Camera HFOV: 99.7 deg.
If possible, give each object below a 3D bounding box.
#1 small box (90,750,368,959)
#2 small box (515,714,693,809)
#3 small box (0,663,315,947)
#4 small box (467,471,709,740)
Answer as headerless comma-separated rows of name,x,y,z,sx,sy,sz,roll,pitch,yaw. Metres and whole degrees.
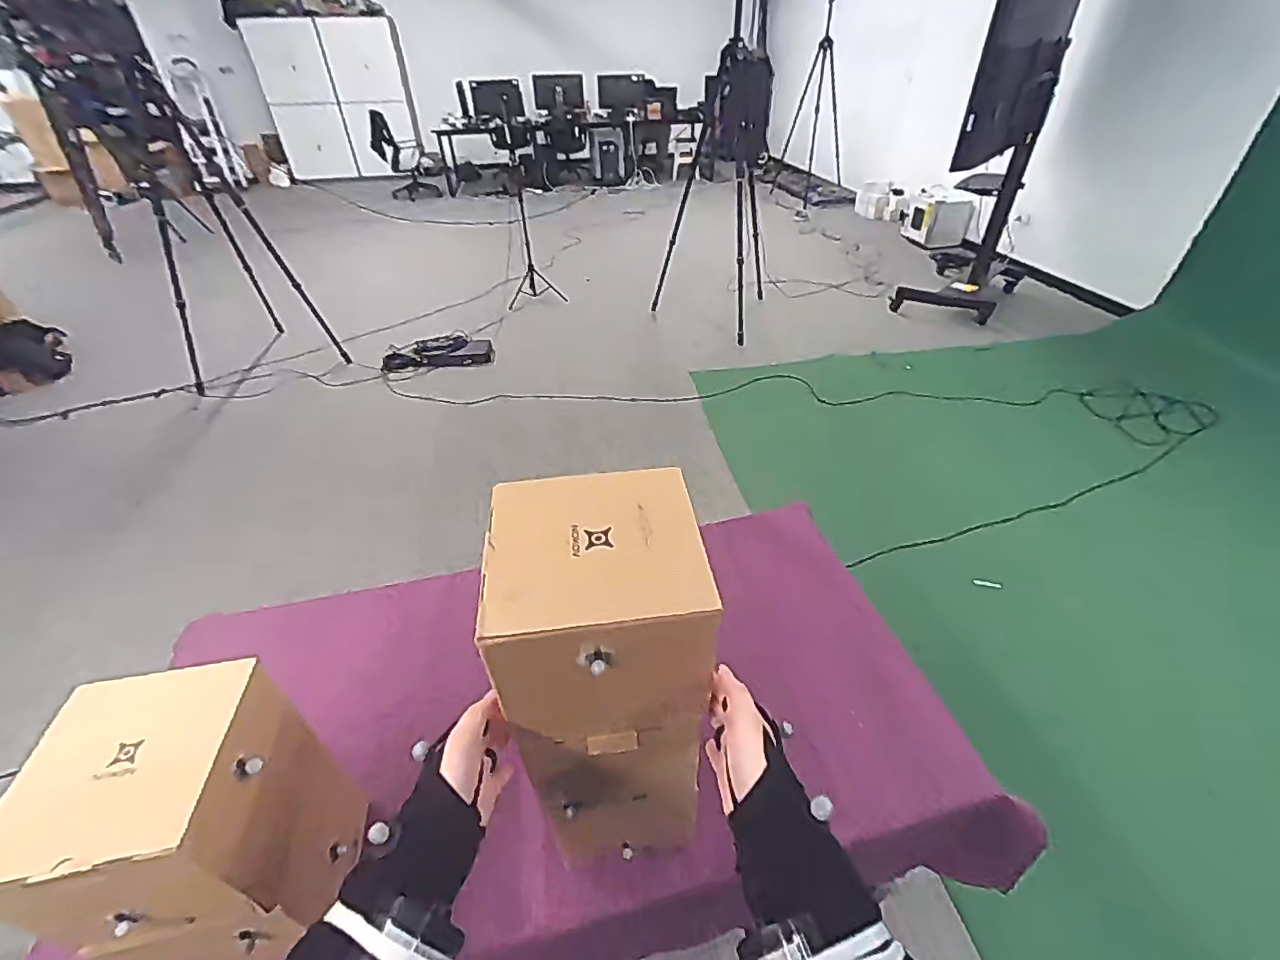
small box,-0.441,0.445,0.624,0.179,0.176,0.168,-8,38,-7
small box,-0.037,0.237,0.597,0.168,0.176,0.179,-7,38,-5
small box,-0.450,0.312,0.530,0.168,0.176,0.179,-8,40,-7
small box,-0.040,0.114,0.490,0.179,0.176,0.168,-6,40,-4
